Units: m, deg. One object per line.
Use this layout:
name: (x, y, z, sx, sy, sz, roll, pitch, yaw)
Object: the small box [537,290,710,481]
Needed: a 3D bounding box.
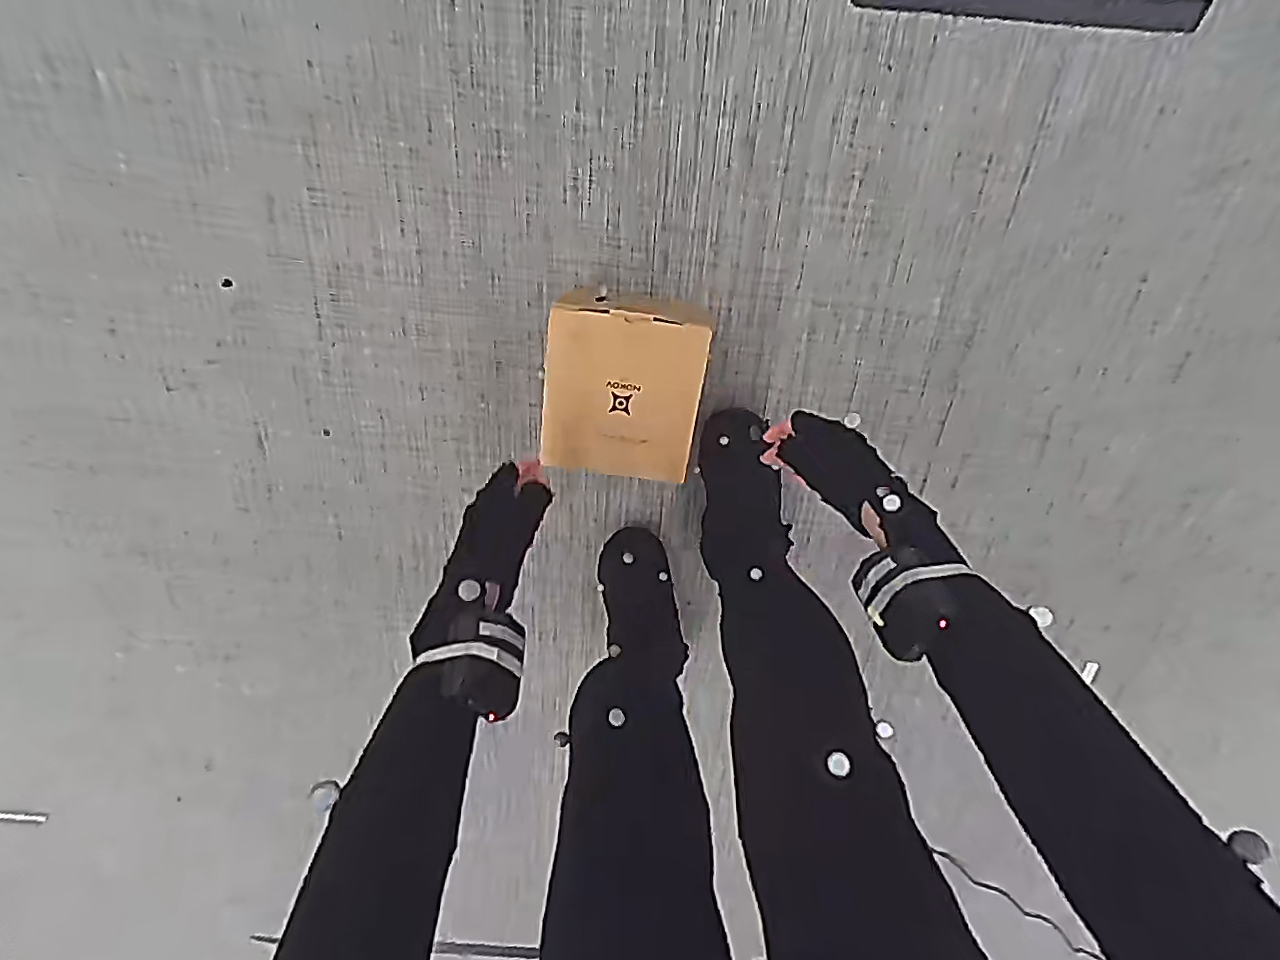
small box: (-0.020, -0.119, 0.637, 0.168, 0.176, 0.179, 7, 115, -1)
